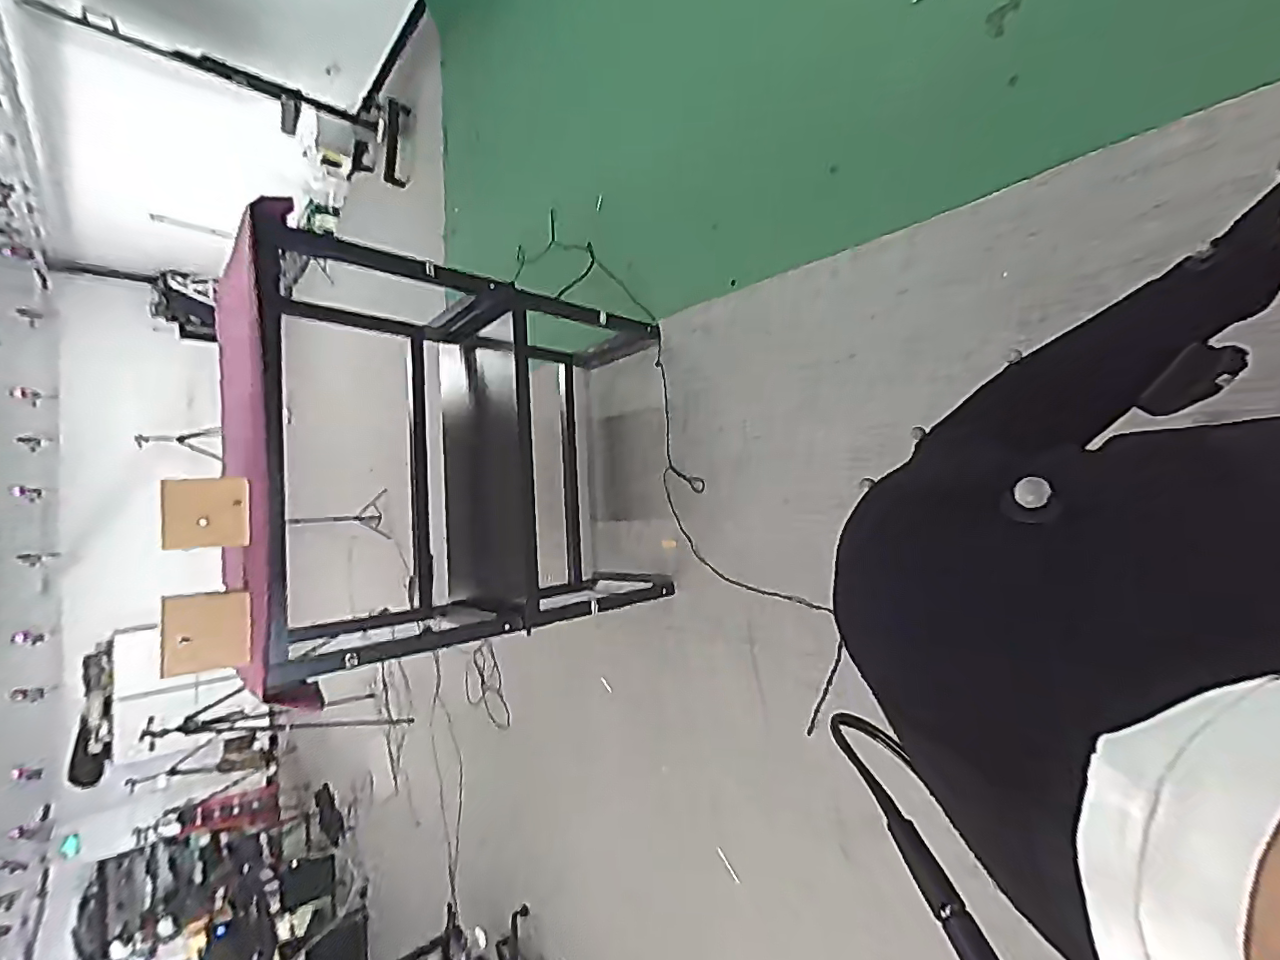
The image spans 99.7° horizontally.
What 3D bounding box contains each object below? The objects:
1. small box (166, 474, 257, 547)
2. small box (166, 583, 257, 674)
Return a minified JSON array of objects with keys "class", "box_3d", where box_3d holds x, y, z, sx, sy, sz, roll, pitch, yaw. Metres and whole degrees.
[{"class":"small box","box_3d":[-1.058,0.073,1.339,0.179,0.176,0.168,-5,86,49]},{"class":"small box","box_3d":[-1.050,0.356,1.326,0.168,0.176,0.179,-6,85,48]}]
